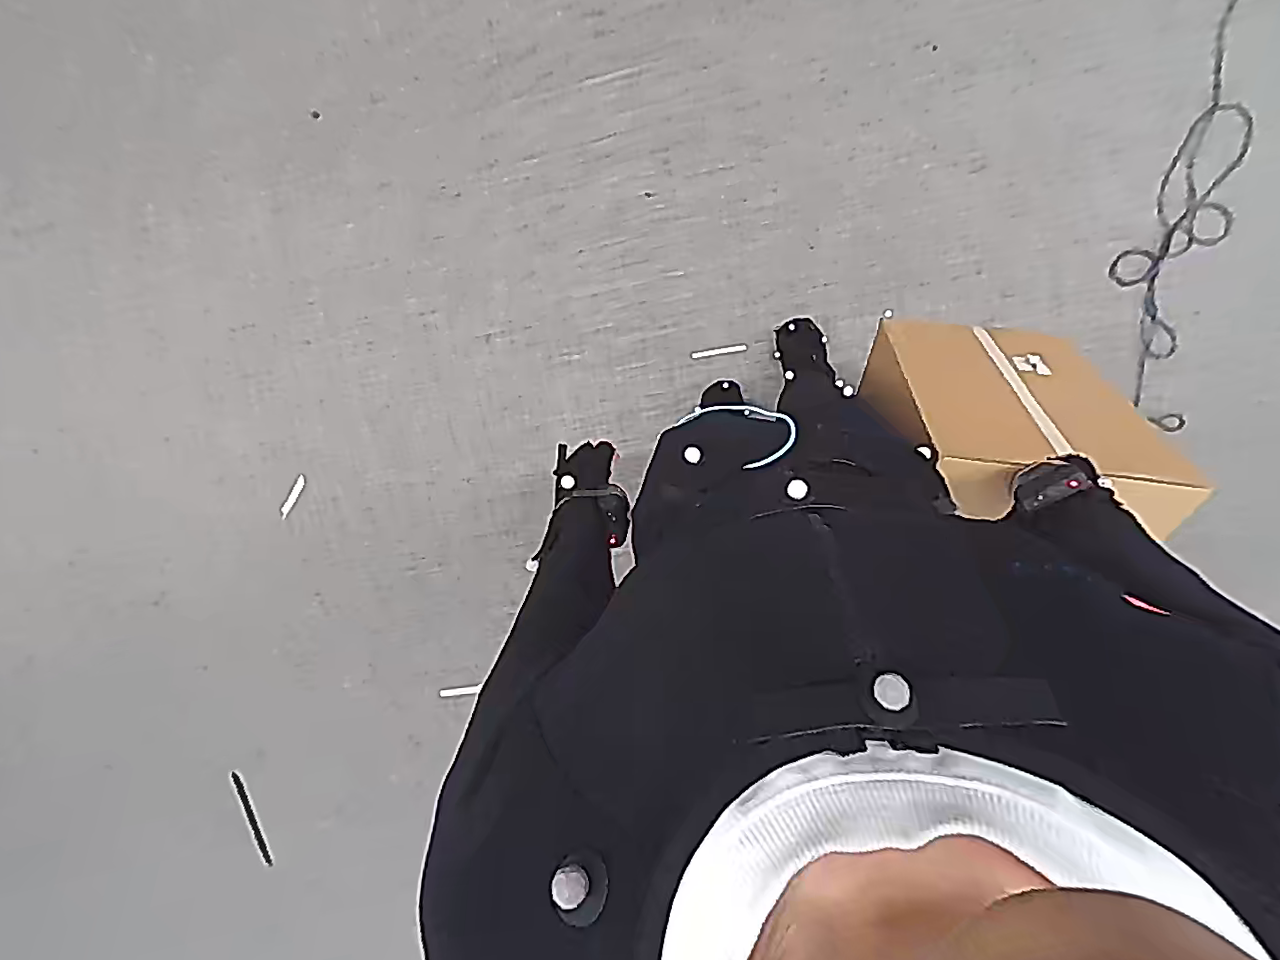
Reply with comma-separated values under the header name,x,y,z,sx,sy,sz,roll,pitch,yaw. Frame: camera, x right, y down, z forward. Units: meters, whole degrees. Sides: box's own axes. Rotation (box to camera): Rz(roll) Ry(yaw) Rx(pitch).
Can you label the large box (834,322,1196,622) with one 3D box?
name,x,y,z,sx,sy,sz,roll,pitch,yaw
large box,0.544,-0.027,0.908,0.320,0.408,0.320,8,130,4
